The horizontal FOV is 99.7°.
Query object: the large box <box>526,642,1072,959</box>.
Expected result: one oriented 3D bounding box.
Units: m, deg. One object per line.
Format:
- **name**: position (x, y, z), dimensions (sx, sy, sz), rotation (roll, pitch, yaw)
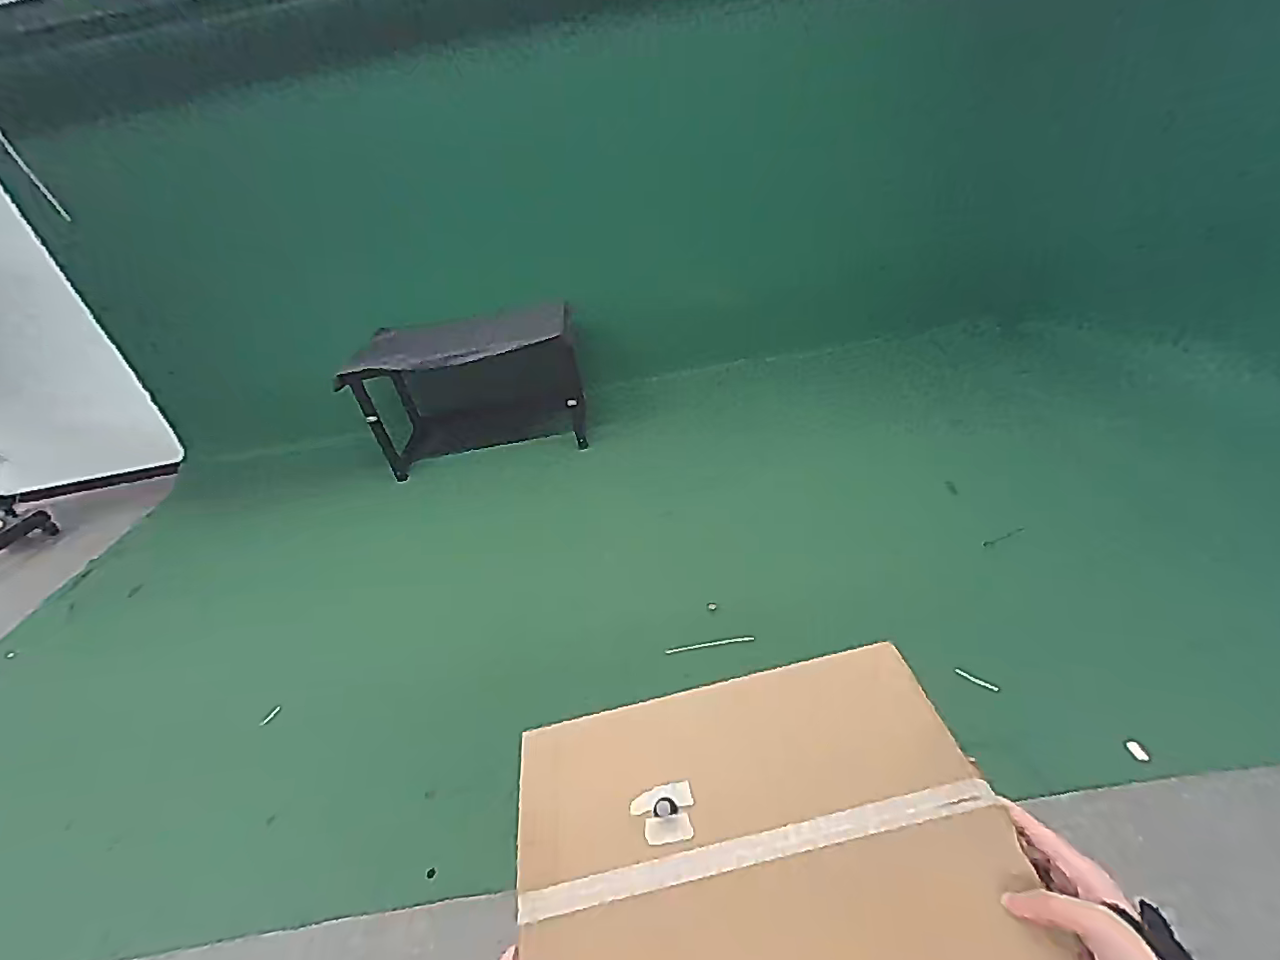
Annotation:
- **large box**: position (0.127, 0.430, 0.560), dimensions (0.408, 0.320, 0.320), rotation (-16, 39, 1)
